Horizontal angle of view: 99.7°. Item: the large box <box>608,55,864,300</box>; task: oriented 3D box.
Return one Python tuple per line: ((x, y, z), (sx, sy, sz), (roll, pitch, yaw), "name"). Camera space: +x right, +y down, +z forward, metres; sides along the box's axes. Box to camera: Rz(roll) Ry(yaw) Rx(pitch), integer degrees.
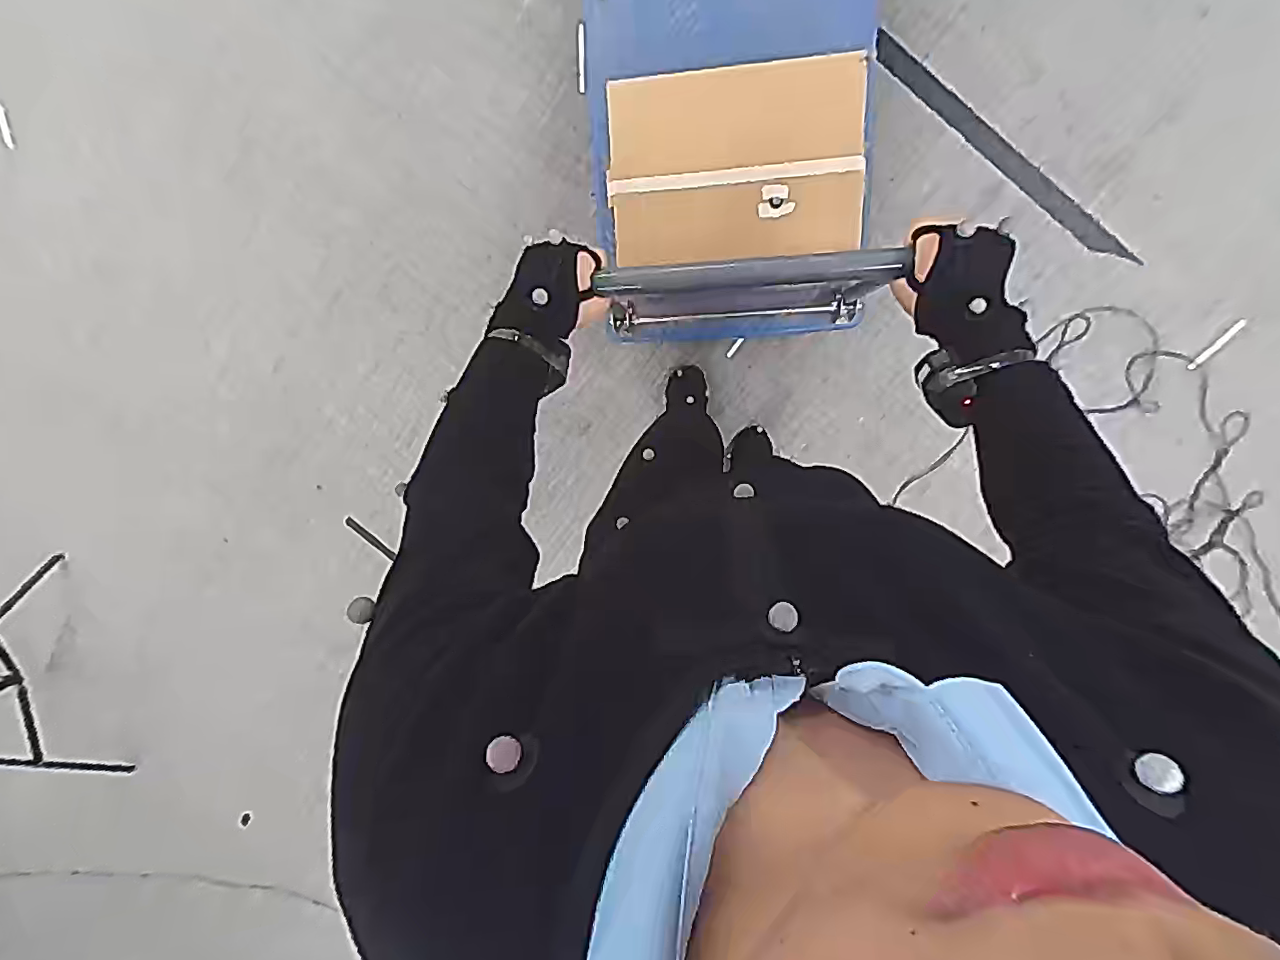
((0.169, -0.527, 1.024), (0.408, 0.320, 0.320), (-1, 105, 7), "large box")
